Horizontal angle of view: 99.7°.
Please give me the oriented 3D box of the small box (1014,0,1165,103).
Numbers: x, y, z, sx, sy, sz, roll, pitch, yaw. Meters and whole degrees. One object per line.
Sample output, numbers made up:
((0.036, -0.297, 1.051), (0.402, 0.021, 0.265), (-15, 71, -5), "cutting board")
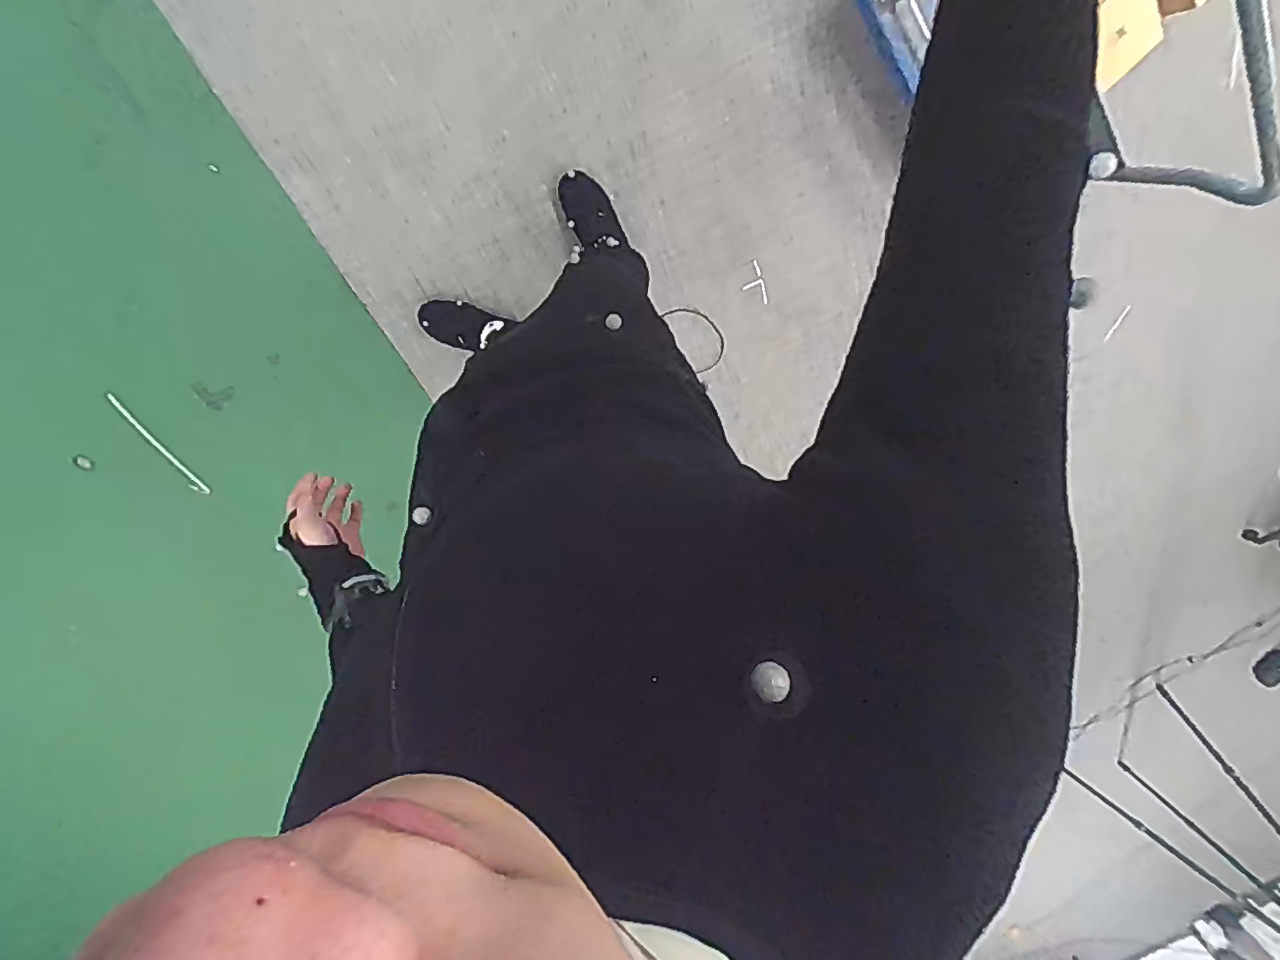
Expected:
((0.981, -0.973, 1.189), (0.179, 0.176, 0.168), (-43, 120, 12), "small box")
